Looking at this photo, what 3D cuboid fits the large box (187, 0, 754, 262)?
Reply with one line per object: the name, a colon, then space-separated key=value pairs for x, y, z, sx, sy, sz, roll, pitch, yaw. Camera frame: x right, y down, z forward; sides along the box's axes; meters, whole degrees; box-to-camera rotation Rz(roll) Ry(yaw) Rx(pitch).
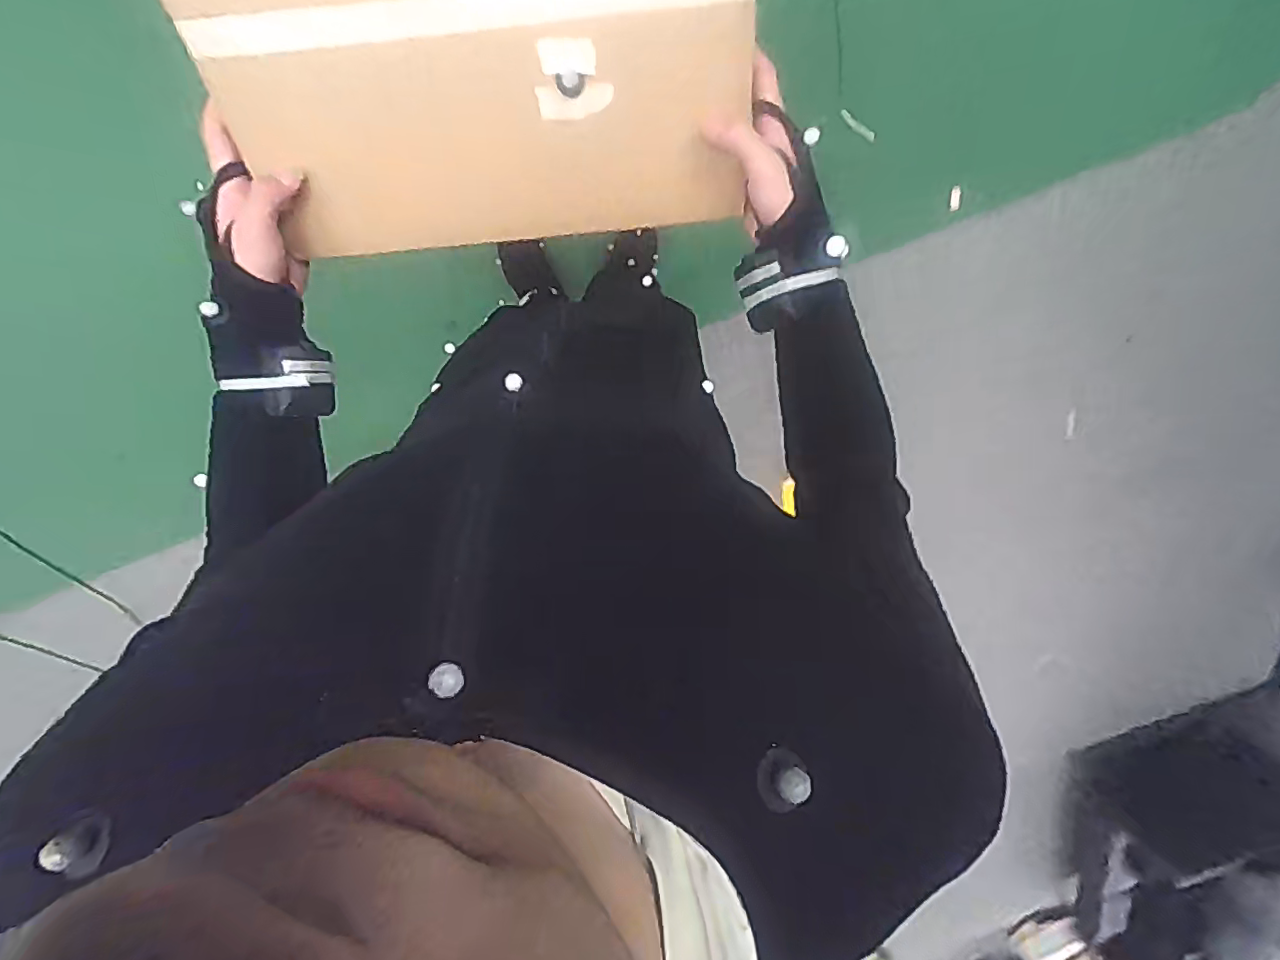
large box: x=-0.126 y=-0.430 z=0.500 sx=0.408 sy=0.320 sz=0.320 roll=-6 pitch=132 yaw=0
